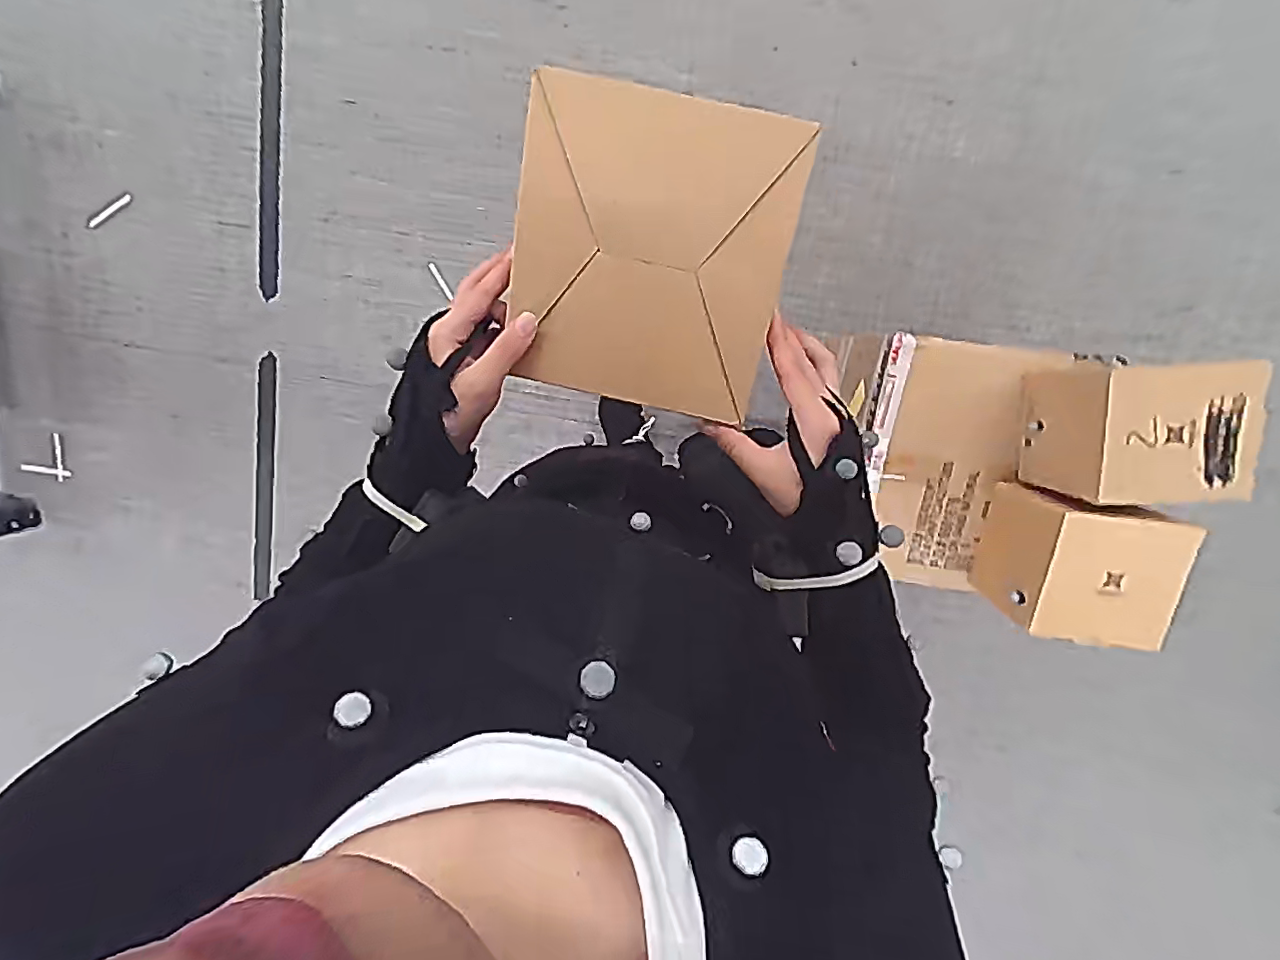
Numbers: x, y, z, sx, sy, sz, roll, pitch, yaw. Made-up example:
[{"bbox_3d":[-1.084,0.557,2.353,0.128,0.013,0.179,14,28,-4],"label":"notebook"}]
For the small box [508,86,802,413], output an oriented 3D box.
[{"bbox_3d":[0.009,-0.157,0.410,0.168,0.176,0.179,12,111,1],"label":"small box"}]
